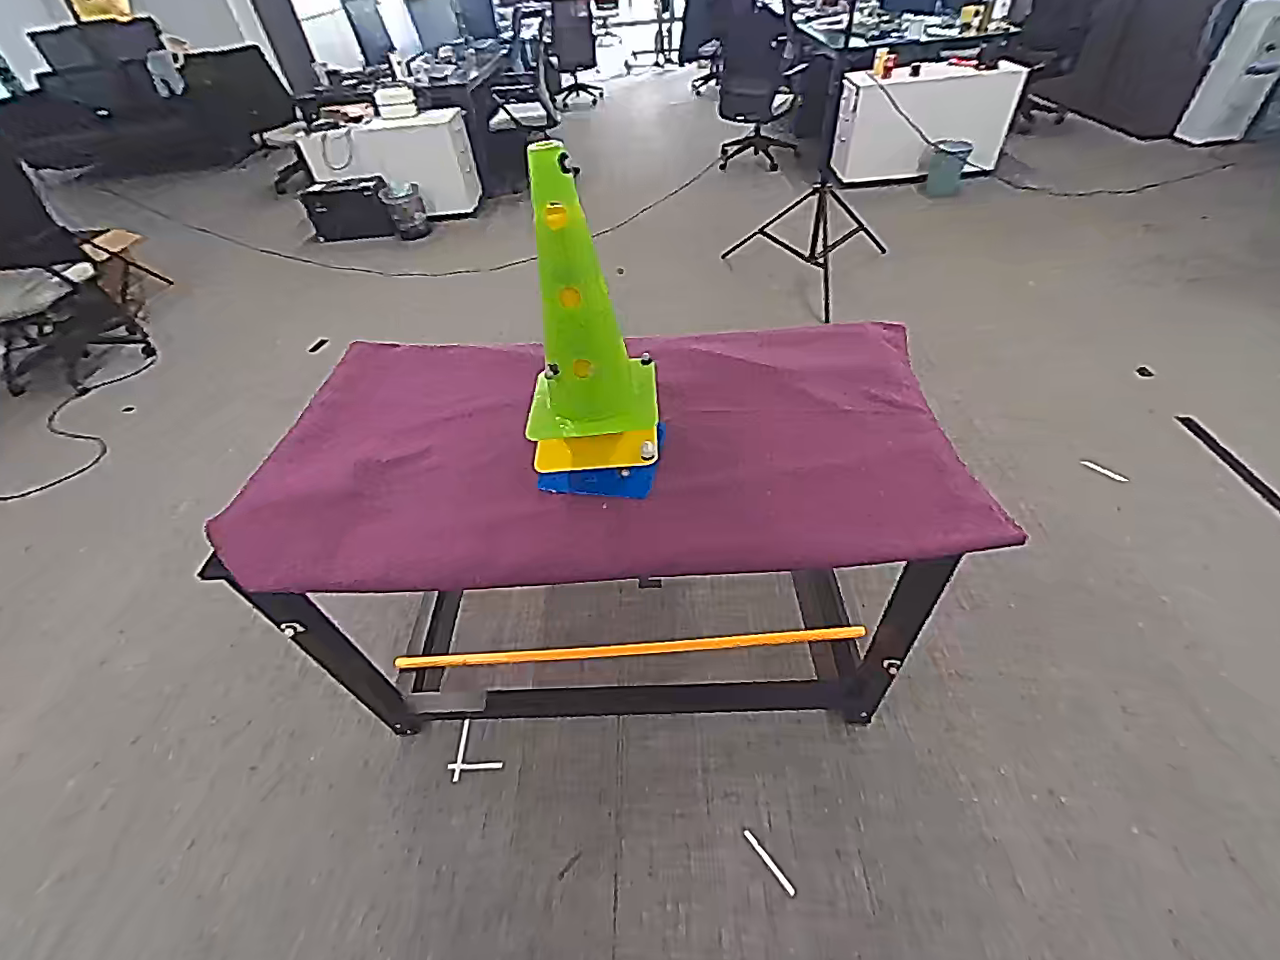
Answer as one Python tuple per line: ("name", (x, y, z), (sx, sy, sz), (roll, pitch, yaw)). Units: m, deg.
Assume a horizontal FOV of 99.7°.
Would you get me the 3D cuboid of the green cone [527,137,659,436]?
("green cone", (-0.094, -0.264, 0.749), (0.200, 0.368, 0.202), (-7, 43, 3))
